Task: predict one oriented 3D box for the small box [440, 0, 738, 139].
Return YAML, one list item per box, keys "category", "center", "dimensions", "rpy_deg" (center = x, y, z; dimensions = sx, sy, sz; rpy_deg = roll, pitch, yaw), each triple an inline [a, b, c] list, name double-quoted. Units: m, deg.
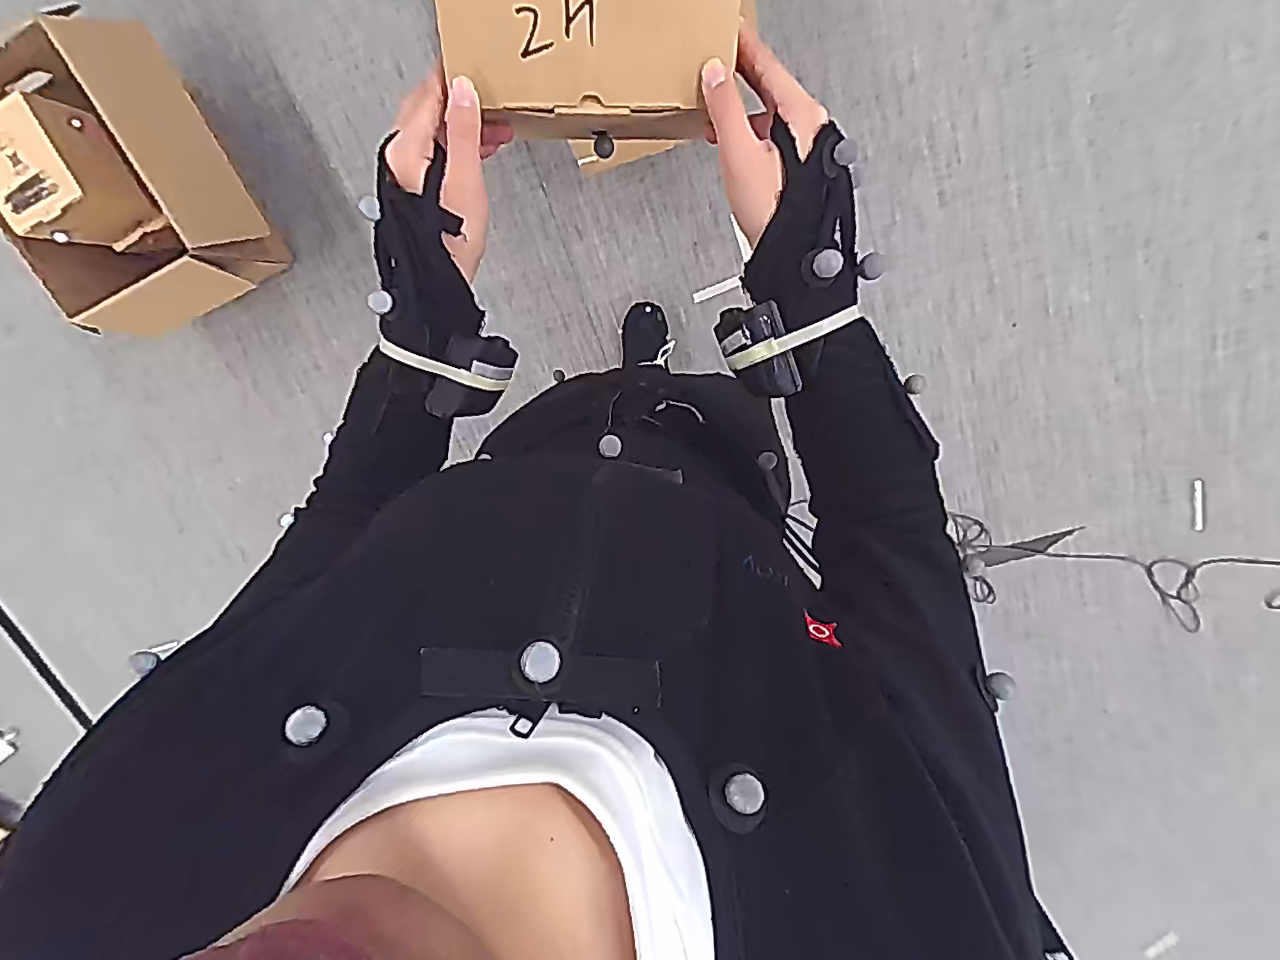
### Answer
- category: "small box"
  center: [-0.027, -0.334, 0.347]
  dimensions: [0.168, 0.176, 0.179]
  rpy_deg: [1, 117, 0]
